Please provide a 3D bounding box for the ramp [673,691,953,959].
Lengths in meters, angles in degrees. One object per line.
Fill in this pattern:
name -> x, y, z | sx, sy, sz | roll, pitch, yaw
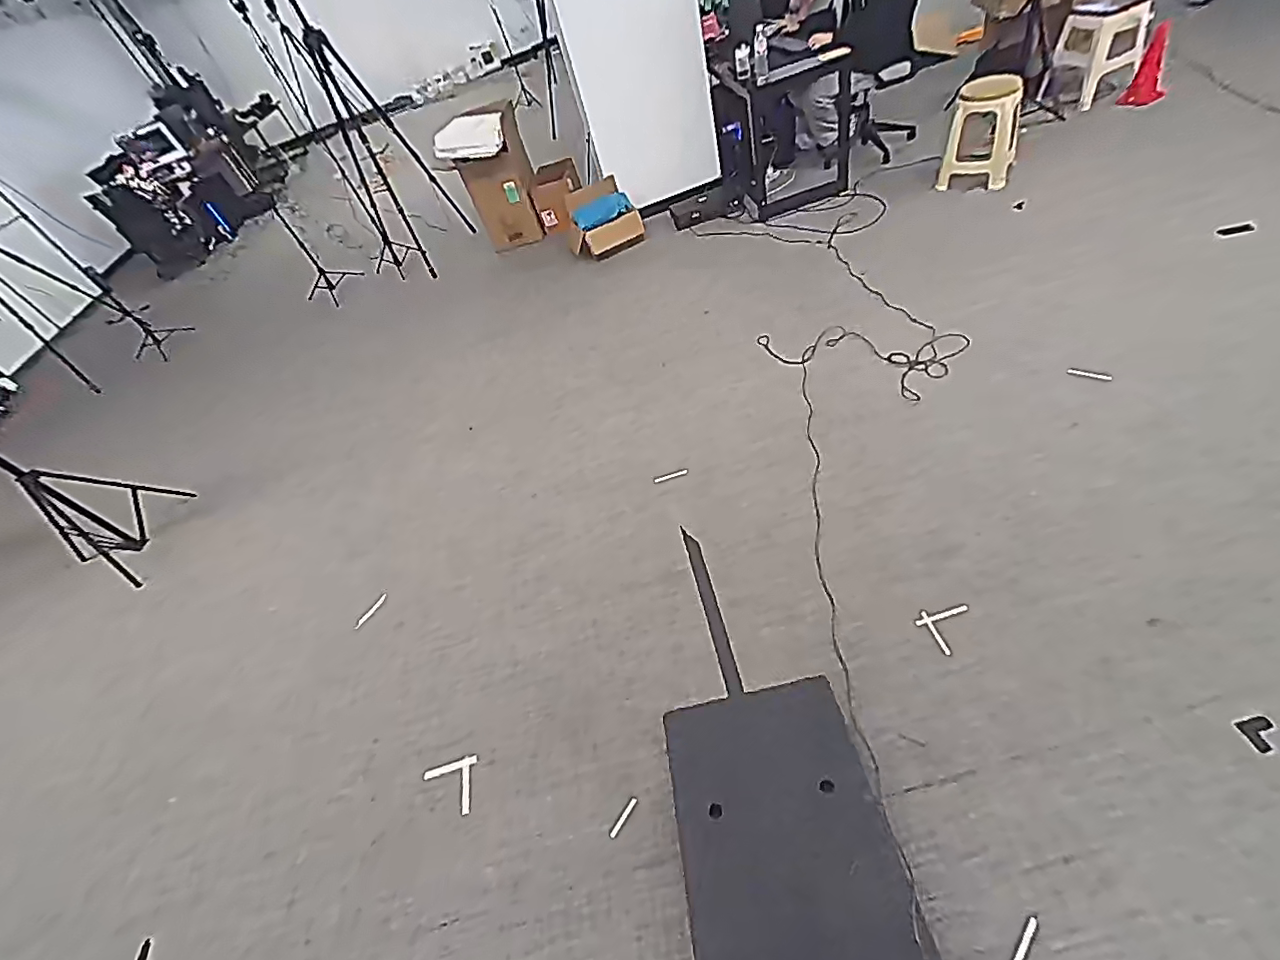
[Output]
ramp -> 0.374, 0.959, 1.169 | 0.509, 0.206, 0.991 | -19, 44, 4
